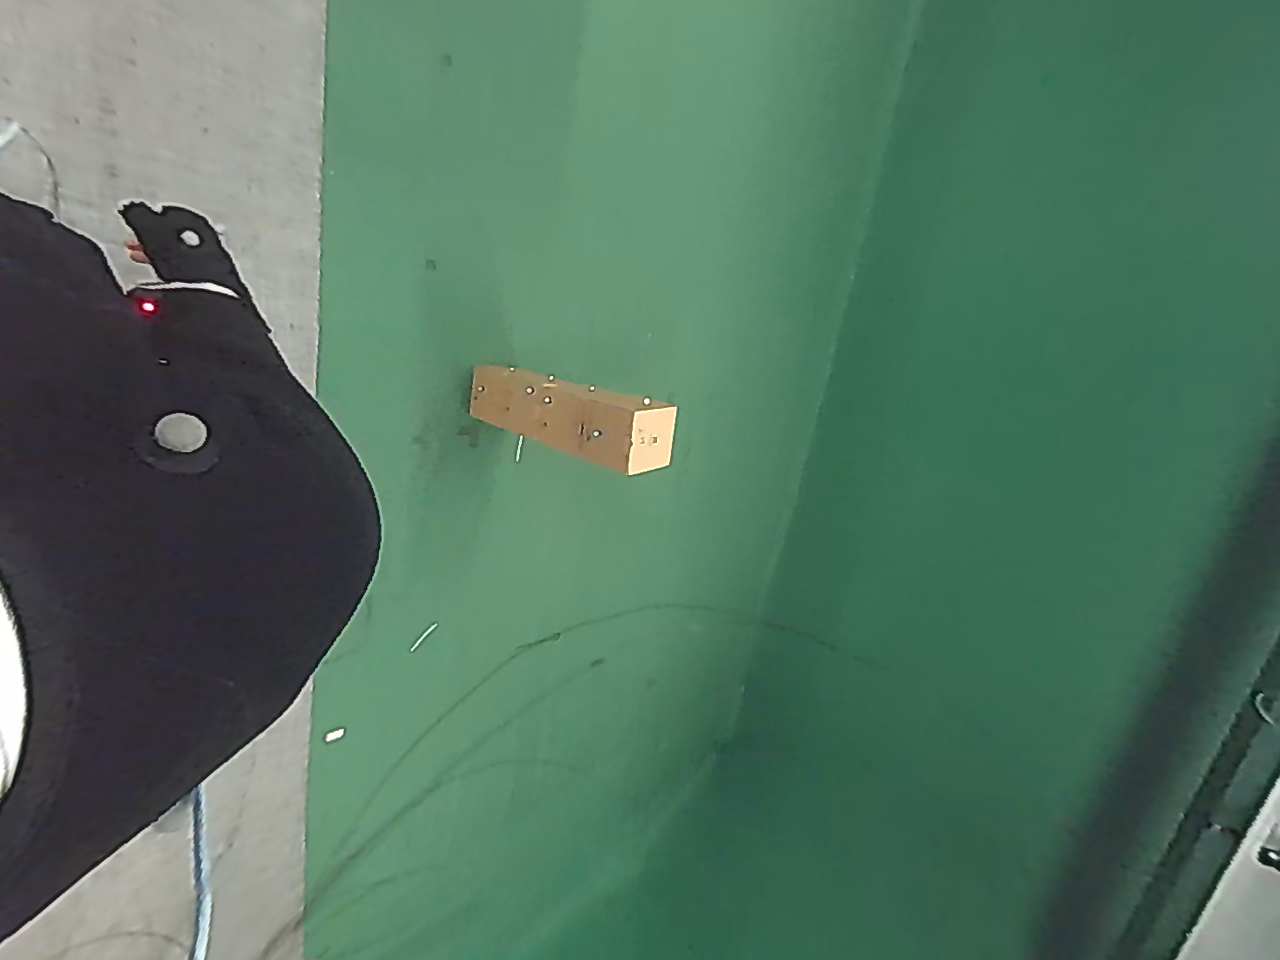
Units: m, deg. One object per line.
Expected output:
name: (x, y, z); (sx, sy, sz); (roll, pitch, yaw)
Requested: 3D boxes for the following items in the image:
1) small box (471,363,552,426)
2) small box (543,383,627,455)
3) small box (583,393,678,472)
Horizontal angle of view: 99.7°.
small box: (-0.408, -0.271, 1.716); (0.179, 0.176, 0.168); (-5, 111, -49)
small box: (-0.156, -0.178, 1.527); (0.179, 0.176, 0.168); (-14, 118, -48)
small box: (-0.027, -0.134, 1.434); (0.179, 0.176, 0.168); (-15, 118, -47)
